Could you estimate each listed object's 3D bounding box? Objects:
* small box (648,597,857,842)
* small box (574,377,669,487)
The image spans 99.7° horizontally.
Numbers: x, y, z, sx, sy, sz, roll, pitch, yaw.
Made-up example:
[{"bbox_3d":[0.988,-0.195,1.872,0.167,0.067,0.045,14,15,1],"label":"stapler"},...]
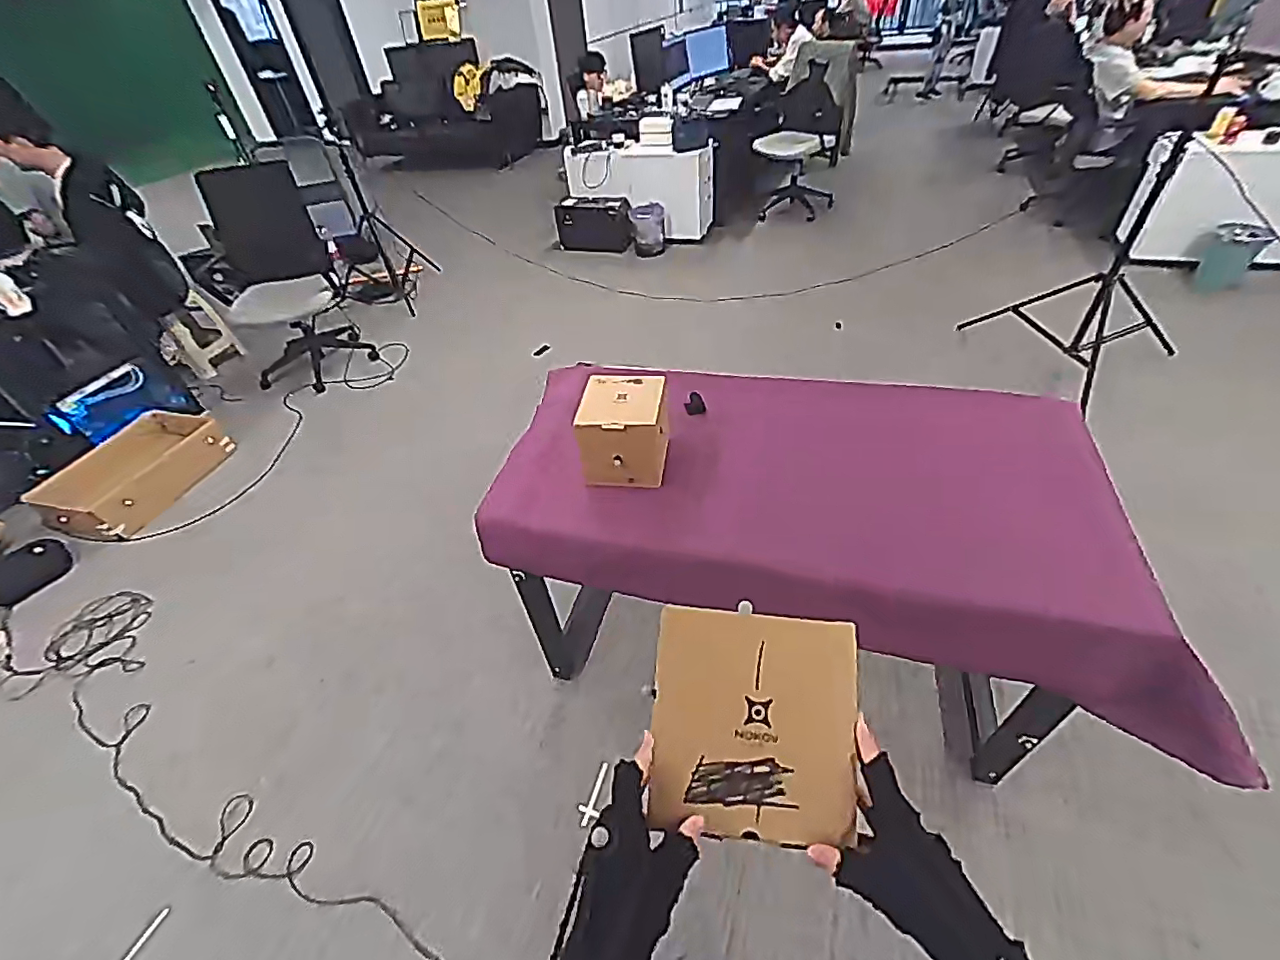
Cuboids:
[{"bbox_3d":[0.098,0.215,0.525,0.168,0.176,0.179,5,73,2],"label":"small box"},{"bbox_3d":[-0.030,-0.102,1.157,0.168,0.176,0.179,3,44,9],"label":"small box"}]
